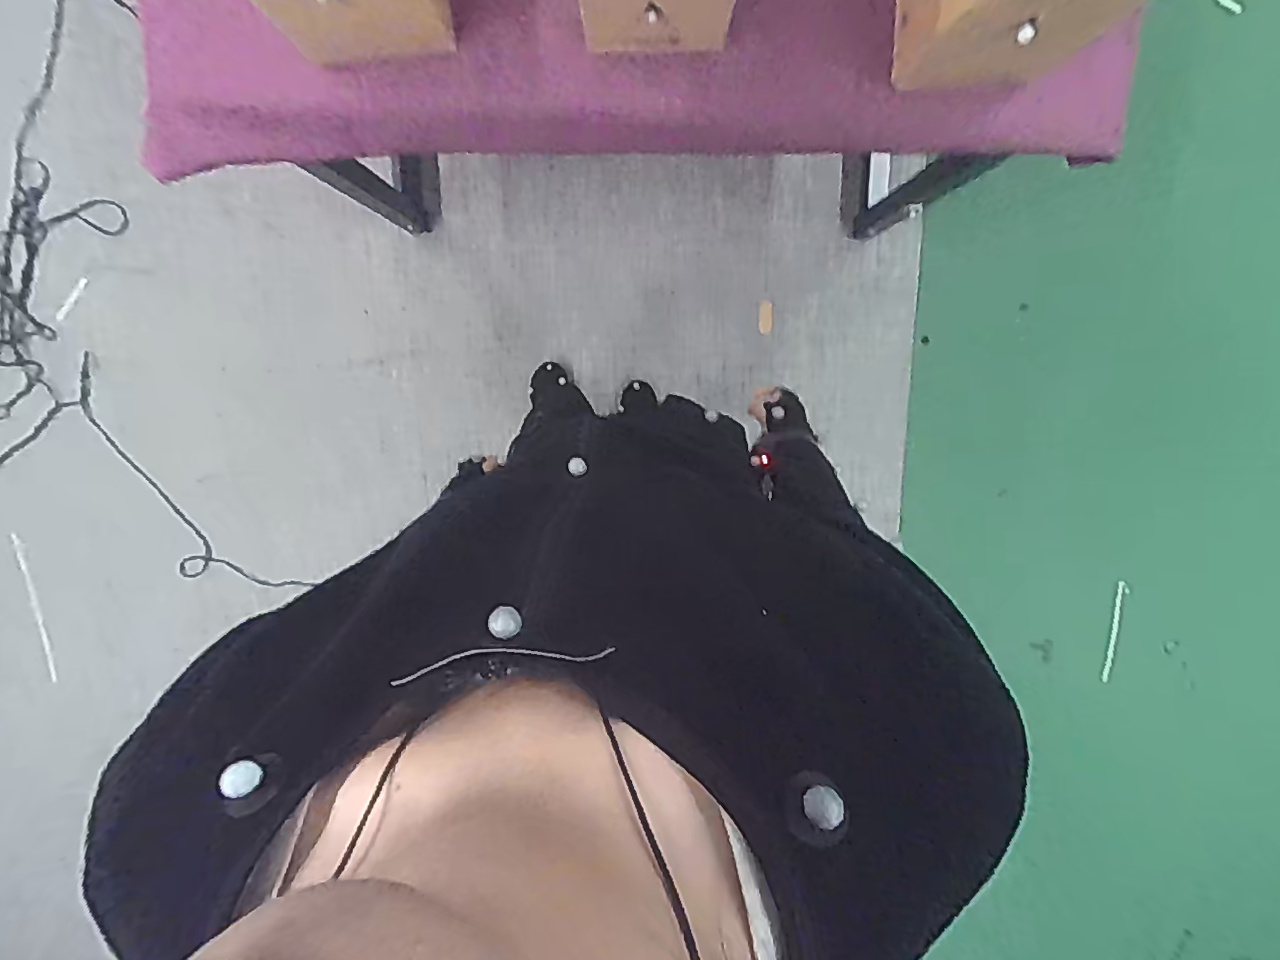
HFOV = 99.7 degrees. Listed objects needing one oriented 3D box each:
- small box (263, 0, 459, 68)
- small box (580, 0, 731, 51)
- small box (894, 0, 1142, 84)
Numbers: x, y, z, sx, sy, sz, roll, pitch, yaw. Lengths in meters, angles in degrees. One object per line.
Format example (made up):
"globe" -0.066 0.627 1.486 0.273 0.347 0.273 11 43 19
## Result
"small box" -0.317 -0.580 0.578 0.179 0.176 0.168 -6 101 1
"small box" 0.017 -0.590 0.569 0.168 0.176 0.179 -1 100 1
"small box" 0.395 -0.551 0.569 0.179 0.176 0.168 -2 102 3
